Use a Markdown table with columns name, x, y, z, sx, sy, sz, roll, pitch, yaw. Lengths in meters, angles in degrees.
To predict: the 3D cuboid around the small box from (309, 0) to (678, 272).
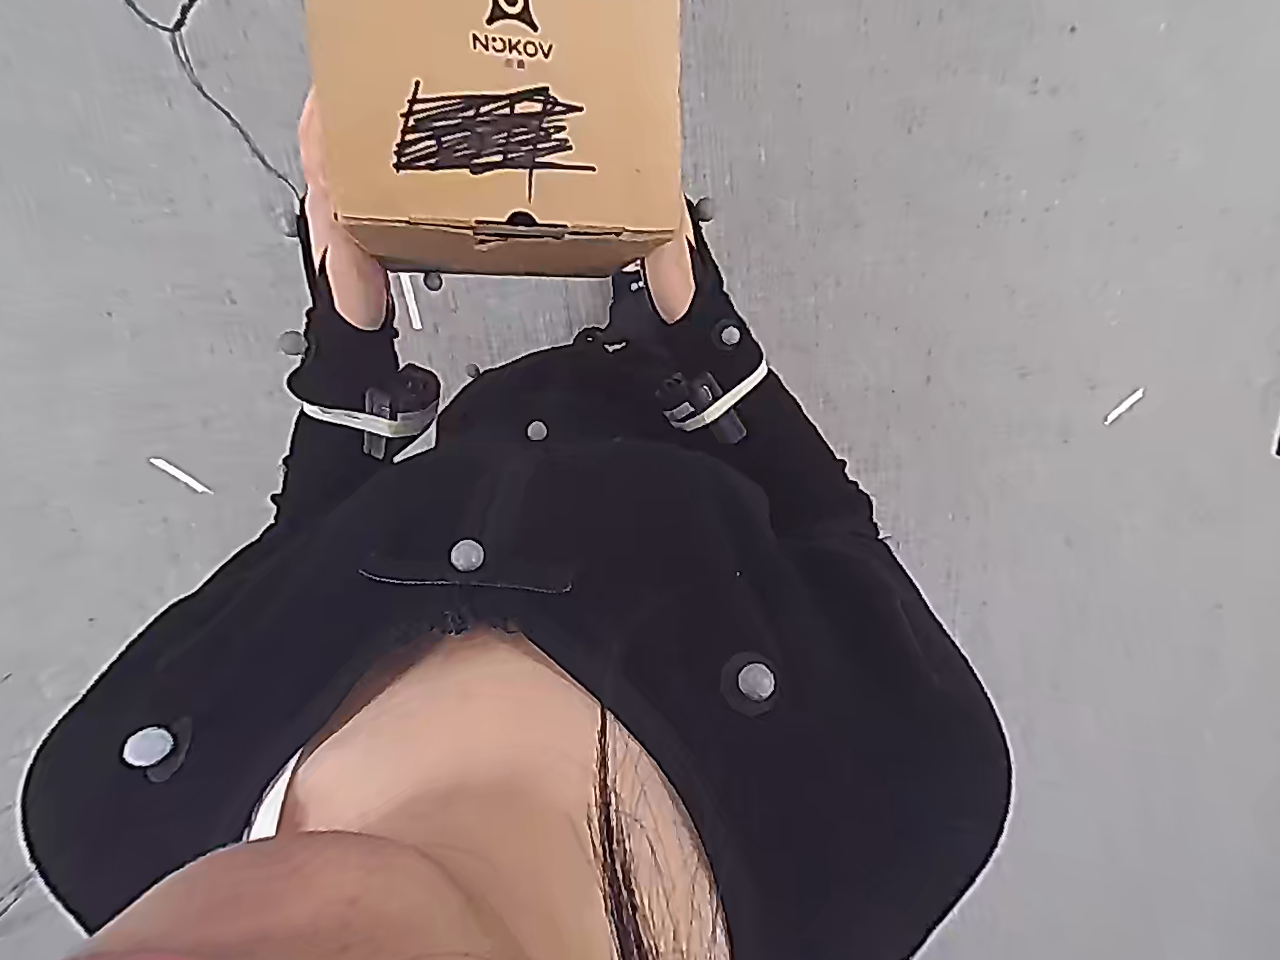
| name | x | y | z | sx | sy | sz | roll | pitch | yaw |
| --- | --- | --- | --- | --- | --- | --- | --- | --- | --- |
| small box | -0.082 | -0.227 | 0.321 | 0.168 | 0.176 | 0.179 | -4 | 103 | -16 |
